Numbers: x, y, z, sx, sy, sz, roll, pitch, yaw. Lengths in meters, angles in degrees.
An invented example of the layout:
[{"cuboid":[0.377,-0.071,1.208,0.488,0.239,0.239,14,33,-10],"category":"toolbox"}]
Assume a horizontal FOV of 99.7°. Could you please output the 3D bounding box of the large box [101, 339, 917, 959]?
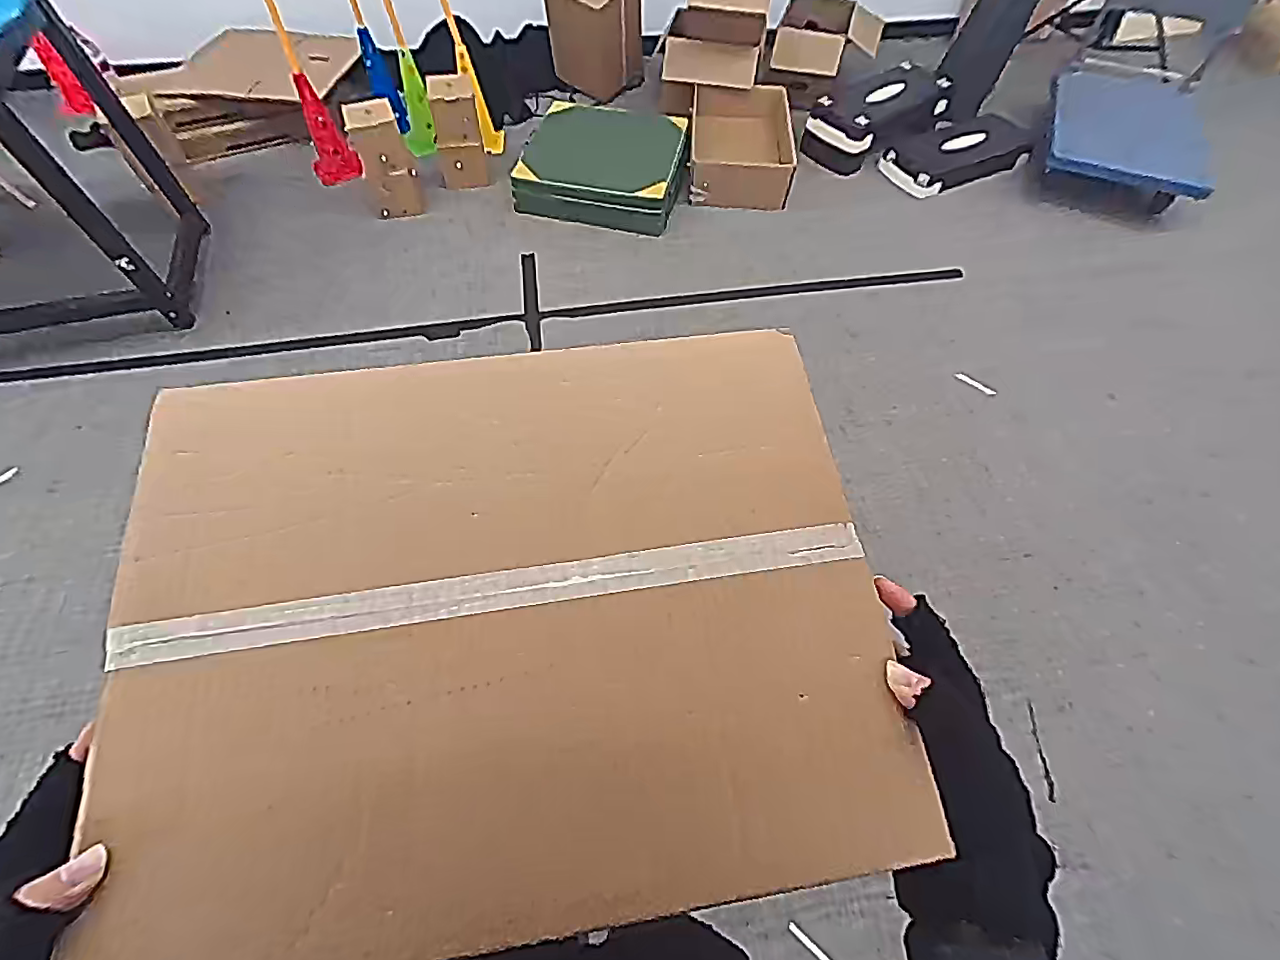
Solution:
[{"cuboid":[-0.080,0.121,0.453,0.408,0.320,0.320,-7,69,-6],"category":"large box"}]
